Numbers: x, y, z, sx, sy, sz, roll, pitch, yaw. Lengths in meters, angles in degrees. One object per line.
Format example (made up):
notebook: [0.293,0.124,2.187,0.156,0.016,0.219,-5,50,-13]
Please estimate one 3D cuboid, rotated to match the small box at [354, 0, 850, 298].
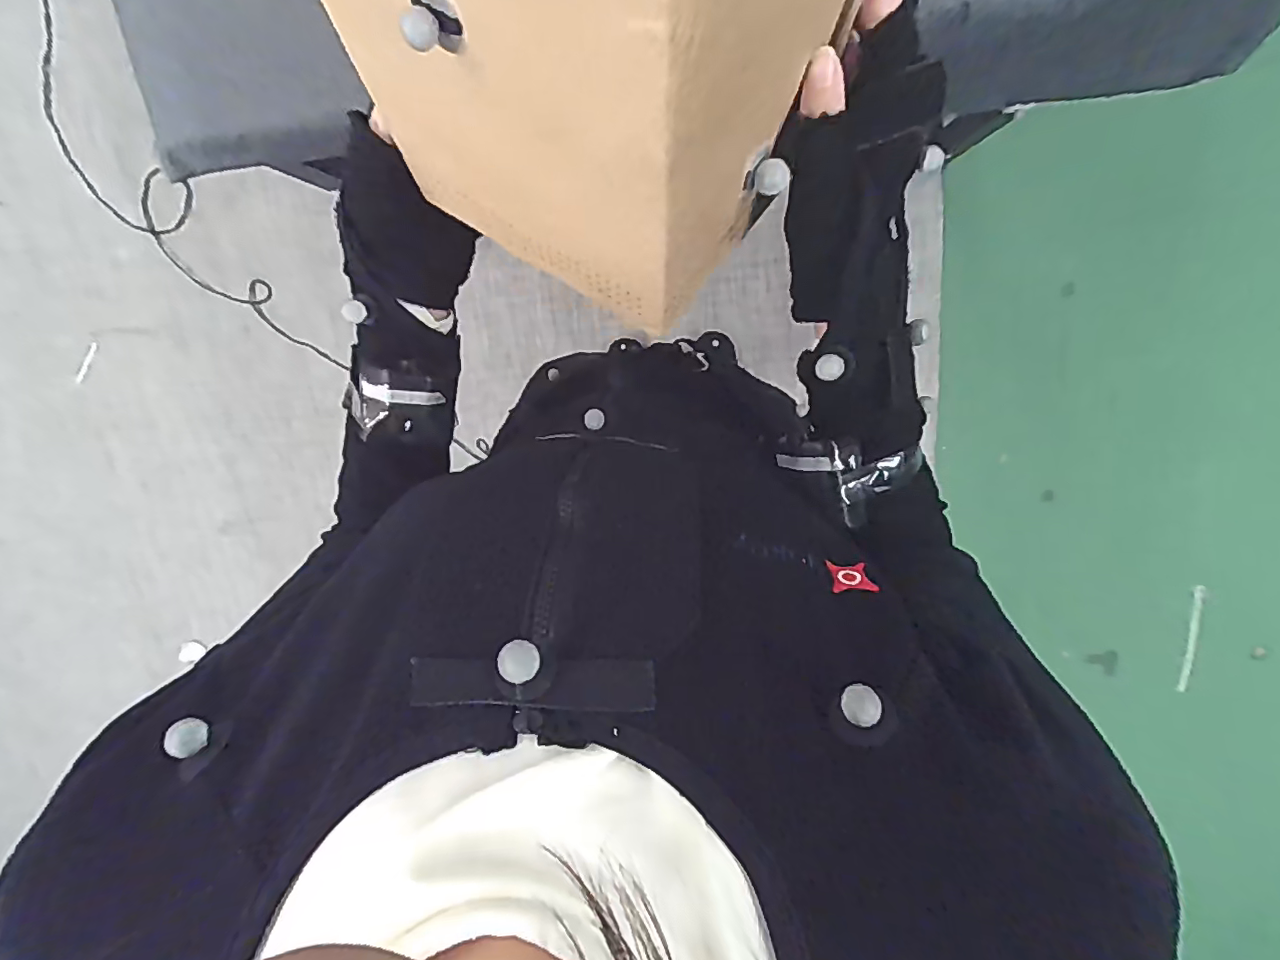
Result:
small box: [-0.015,-0.219,0.248,0.179,0.176,0.168,34,77,11]
